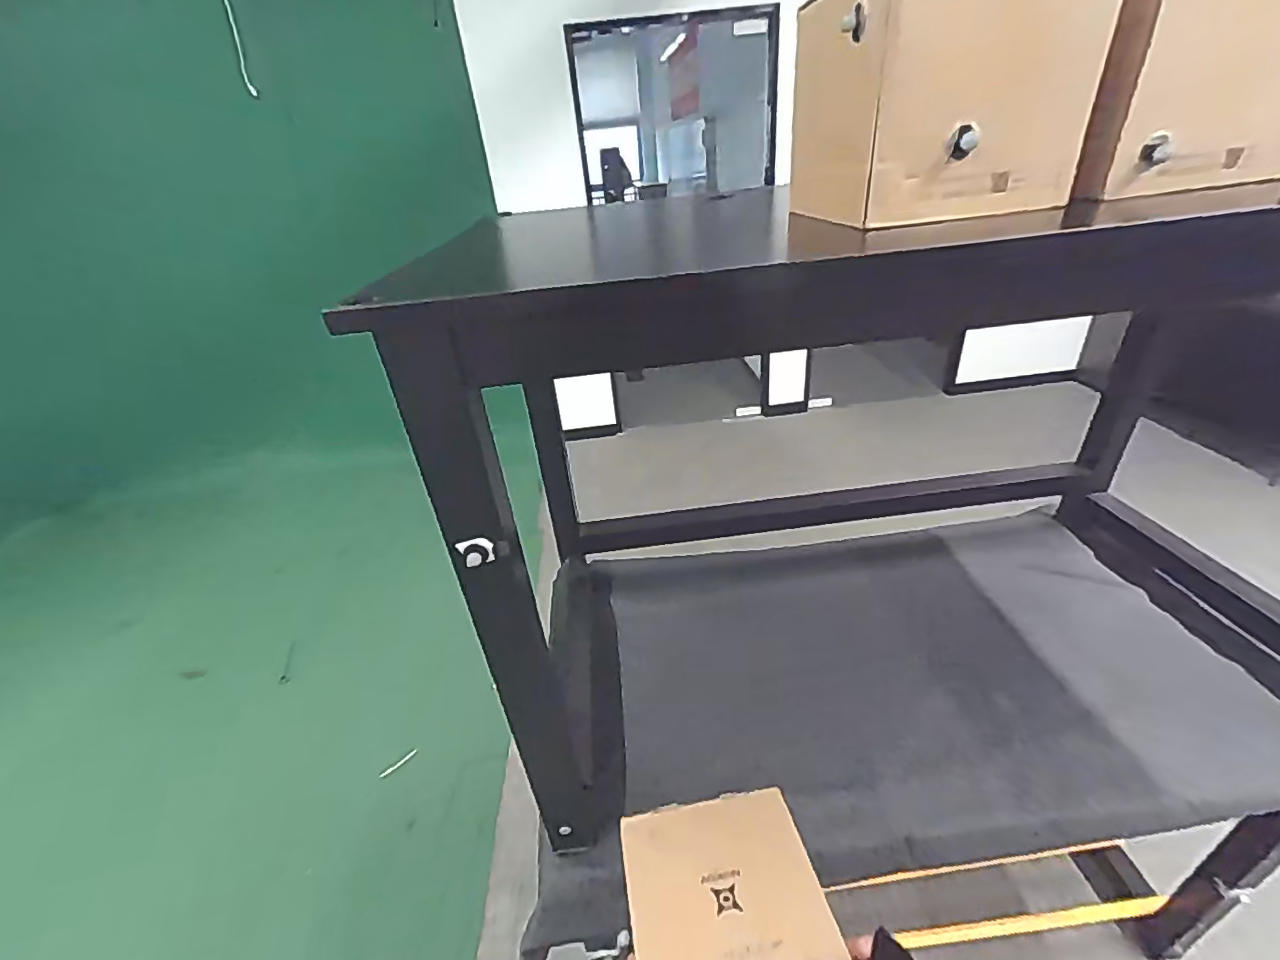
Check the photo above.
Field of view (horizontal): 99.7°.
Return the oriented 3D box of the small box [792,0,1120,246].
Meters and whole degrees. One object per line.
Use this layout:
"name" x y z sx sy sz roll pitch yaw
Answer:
"small box" 0.239 -0.304 0.463 0.168 0.176 0.179 -7 32 -3
